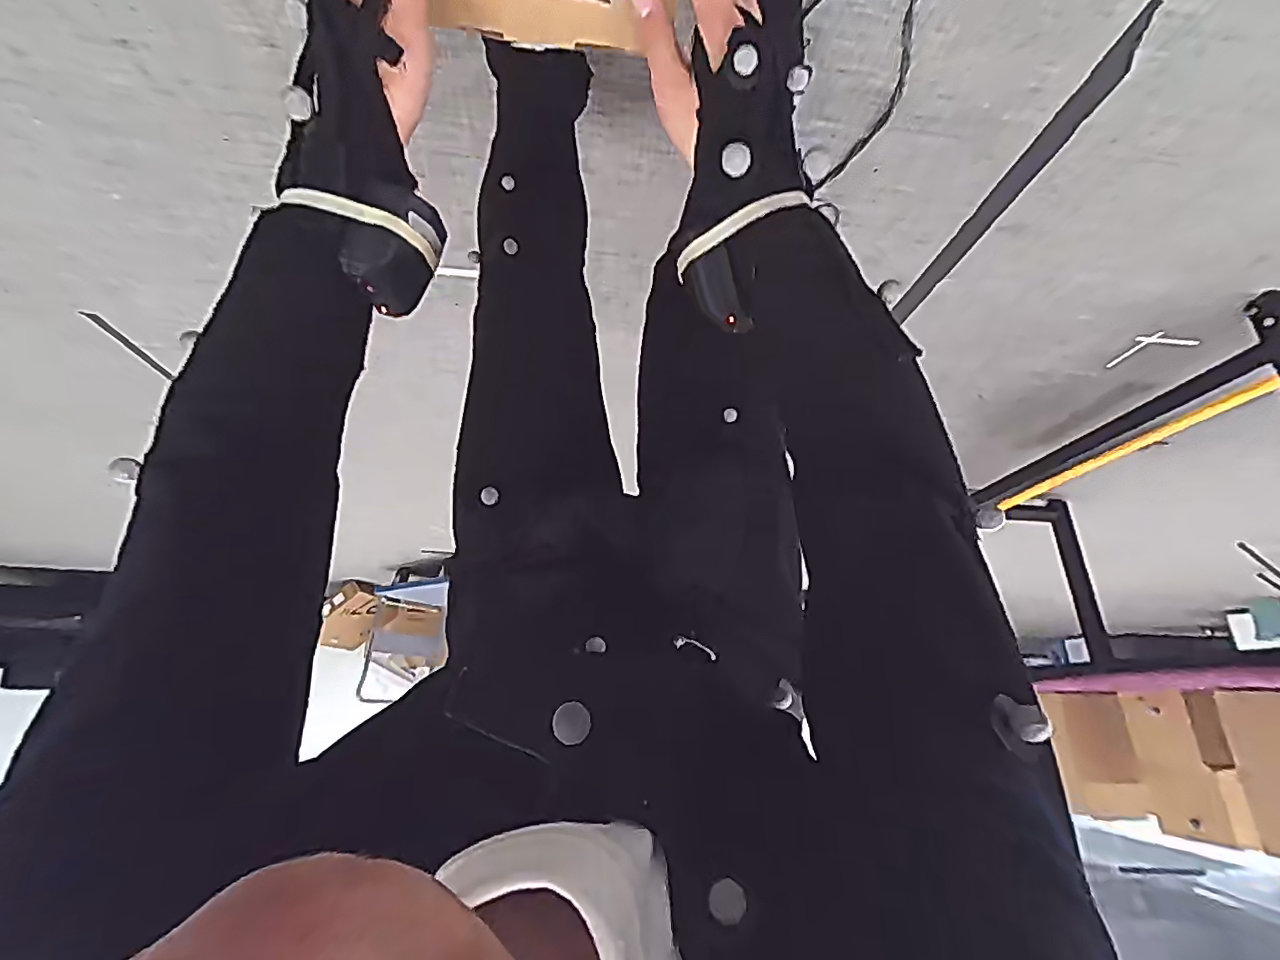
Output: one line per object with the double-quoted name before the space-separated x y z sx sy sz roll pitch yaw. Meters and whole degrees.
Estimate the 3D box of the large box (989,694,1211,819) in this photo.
"large box" 1.367 0.815 1.624 0.408 0.320 0.320 3 158 -5

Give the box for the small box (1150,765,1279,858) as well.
"small box" 1.363 0.771 1.273 0.168 0.176 0.179 4 156 -6
